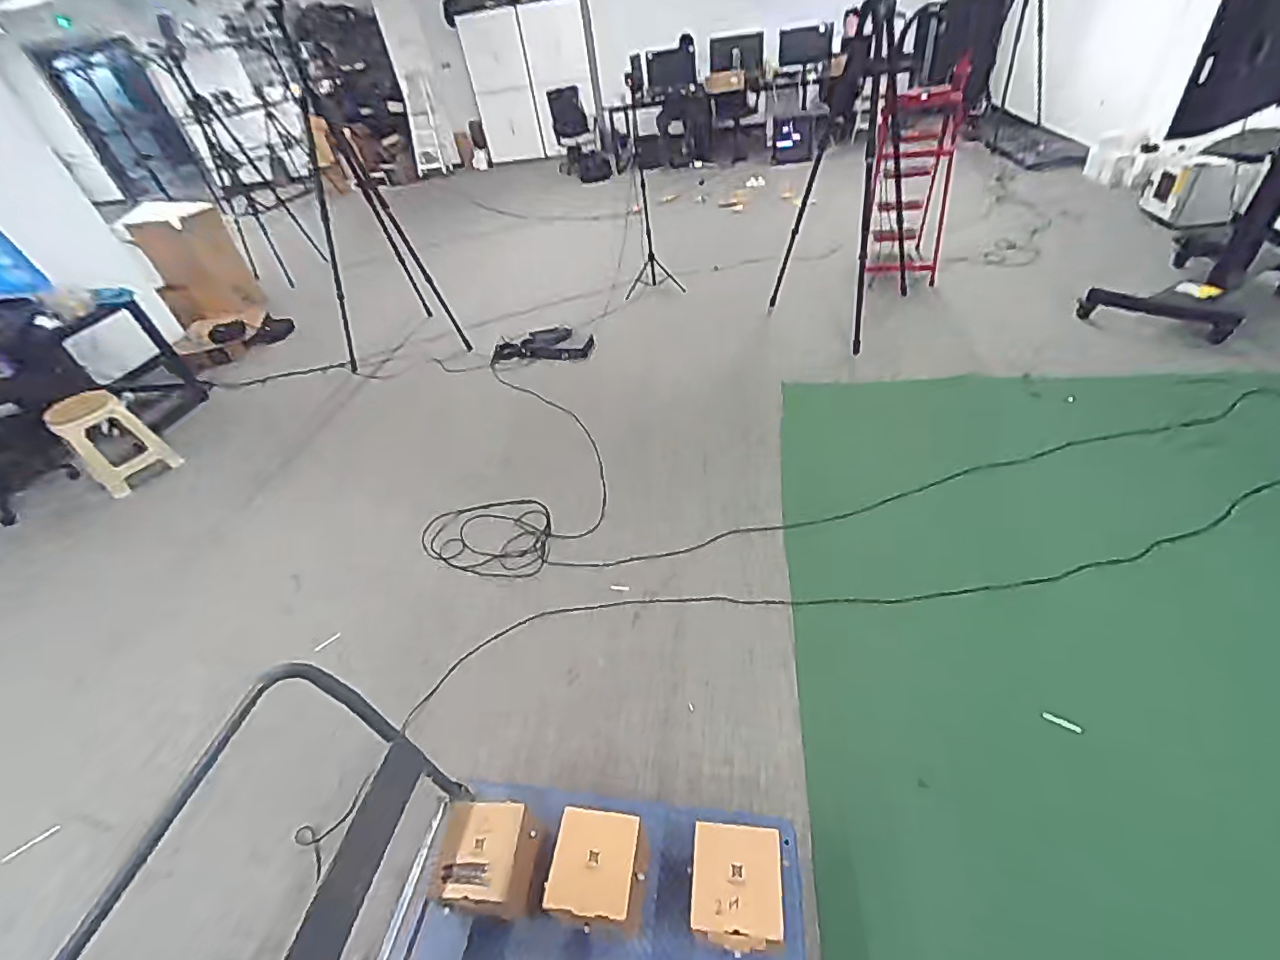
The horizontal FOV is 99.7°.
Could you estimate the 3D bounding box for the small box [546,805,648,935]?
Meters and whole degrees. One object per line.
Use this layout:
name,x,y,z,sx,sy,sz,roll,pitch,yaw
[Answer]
small box,-0.080,0.814,1.131,0.168,0.176,0.179,0,43,12

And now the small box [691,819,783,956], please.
small box,0.194,0.808,1.076,0.168,0.176,0.179,-1,42,12
